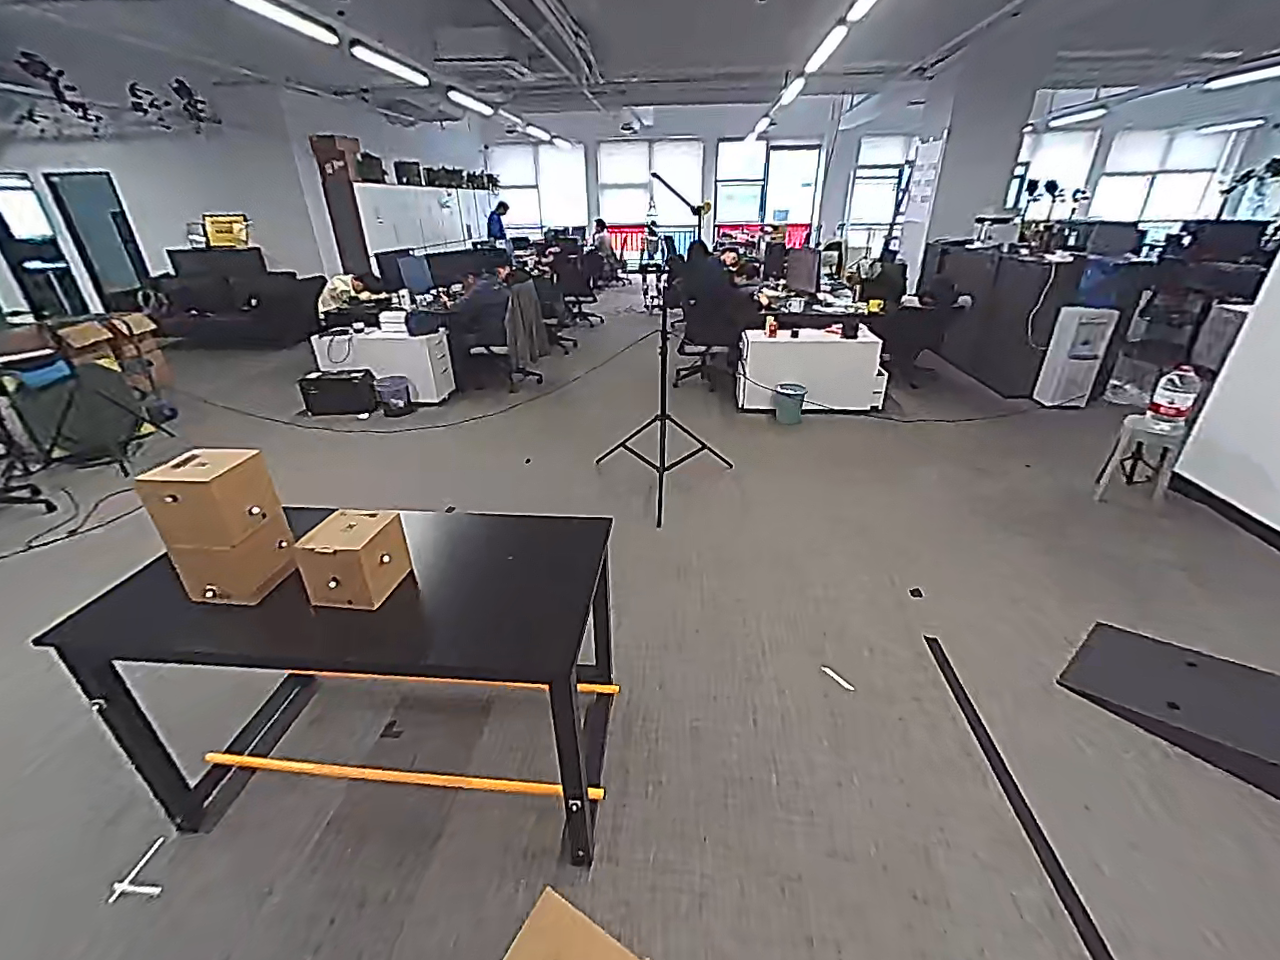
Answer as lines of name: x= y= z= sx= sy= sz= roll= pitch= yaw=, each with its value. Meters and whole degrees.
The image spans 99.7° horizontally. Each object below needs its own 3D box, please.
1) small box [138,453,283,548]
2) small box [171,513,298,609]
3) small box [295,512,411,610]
small box: x=-0.983 y=0.046 z=1.254 sx=0.179 sy=0.176 sz=0.168 roll=1 pitch=27 yaw=4
small box: x=-0.980 y=0.192 z=1.330 sx=0.168 sy=0.176 sz=0.179 roll=1 pitch=28 yaw=5
small box: x=-0.682 y=0.195 z=1.310 sx=0.168 sy=0.176 sz=0.179 roll=3 pitch=27 yaw=7
